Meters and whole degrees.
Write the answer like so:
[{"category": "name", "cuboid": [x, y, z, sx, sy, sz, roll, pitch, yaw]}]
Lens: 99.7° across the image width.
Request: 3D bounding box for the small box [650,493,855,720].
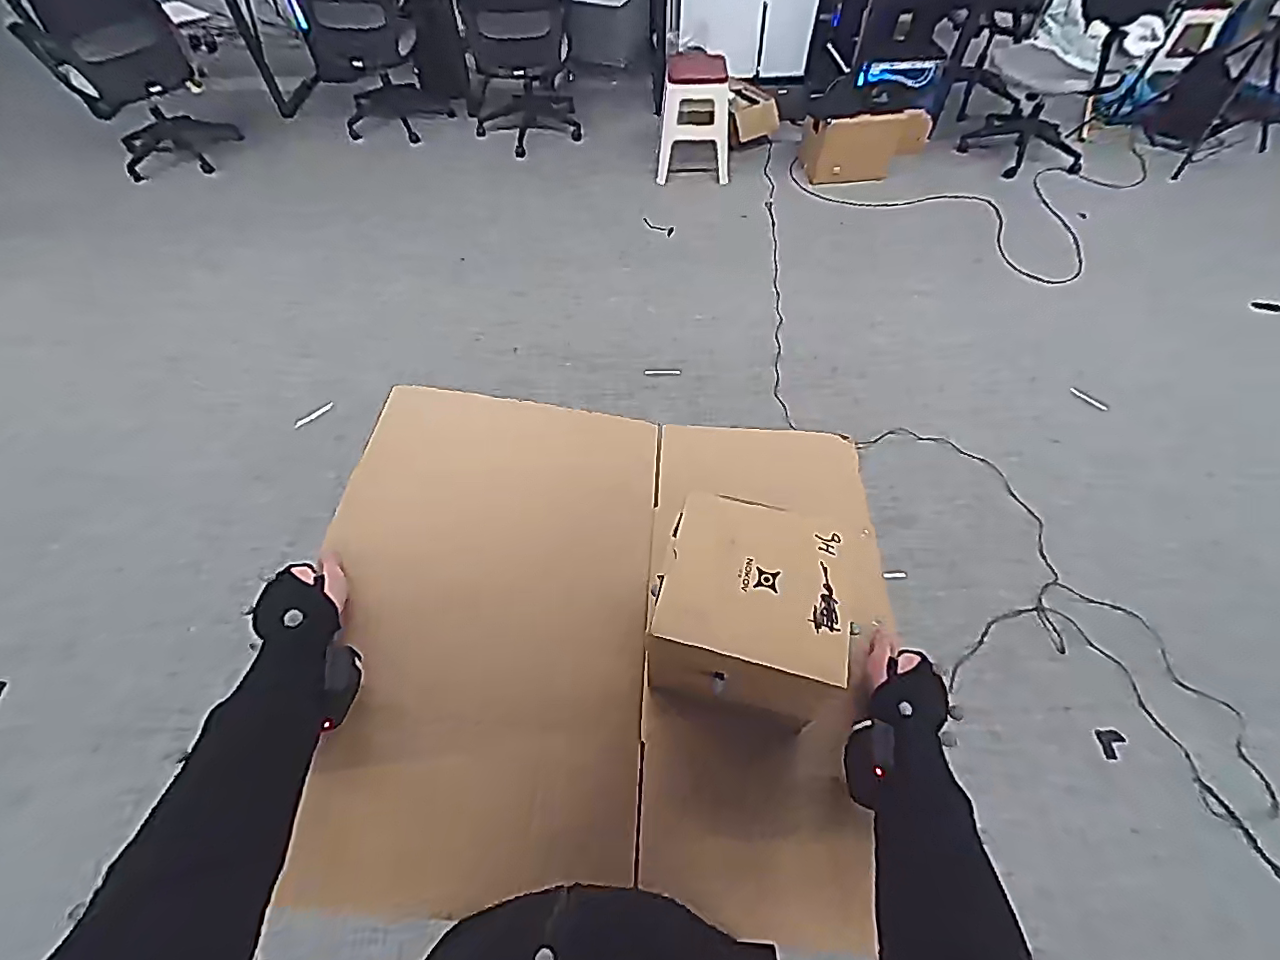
[{"category": "small box", "cuboid": [0.117, 0.141, 0.584, 0.179, 0.176, 0.168, 12, 56, 11]}]
